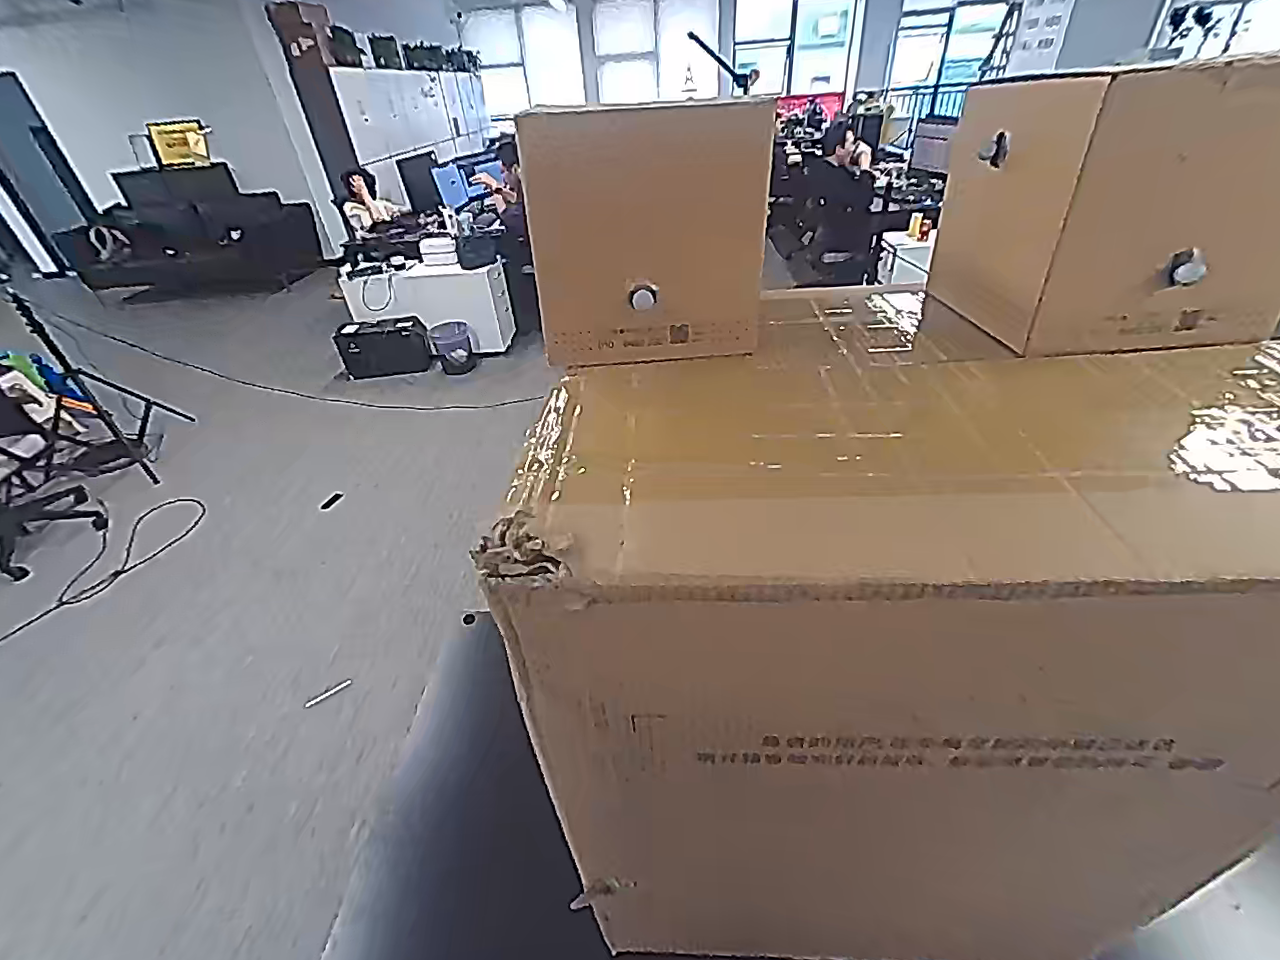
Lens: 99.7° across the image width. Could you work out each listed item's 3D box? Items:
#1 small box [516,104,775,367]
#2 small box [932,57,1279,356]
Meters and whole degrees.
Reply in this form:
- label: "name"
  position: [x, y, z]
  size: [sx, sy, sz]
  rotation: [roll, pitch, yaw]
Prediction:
- label: "small box"
  position: [0.002, -0.205, 0.448]
  size: [0.168, 0.176, 0.179]
  rotation: [-4, 35, -2]
- label: "small box"
  position: [0.349, -0.204, 0.408]
  size: [0.168, 0.176, 0.179]
  rotation: [-3, 34, 4]
